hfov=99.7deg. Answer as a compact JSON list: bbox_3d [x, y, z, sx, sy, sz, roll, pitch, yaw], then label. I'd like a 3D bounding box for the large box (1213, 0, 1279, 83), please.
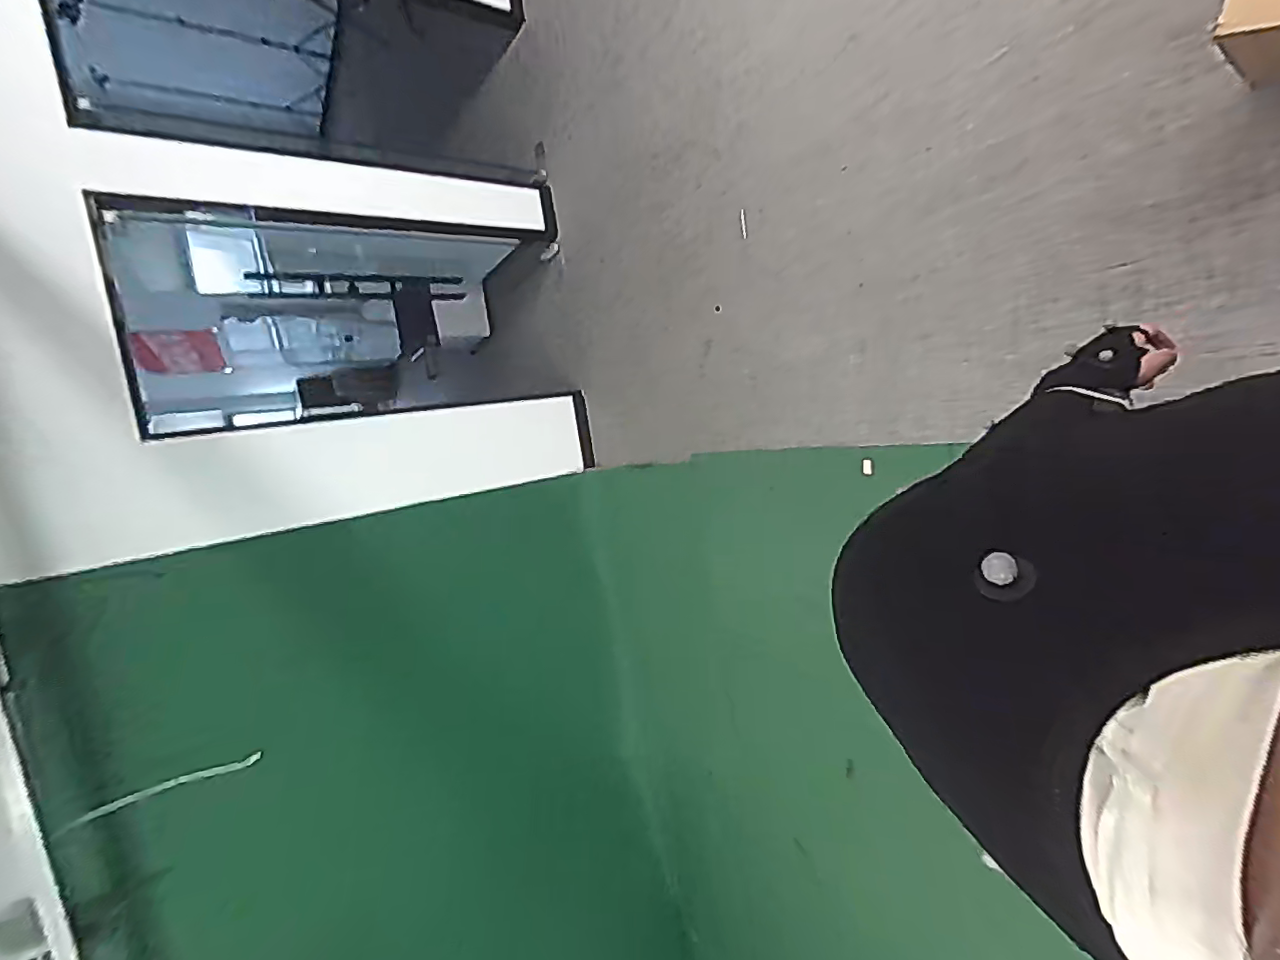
[{"bbox_3d":[1.183,-0.808,0.760,0.408,0.320,0.320,33,125,48],"label":"large box"}]
